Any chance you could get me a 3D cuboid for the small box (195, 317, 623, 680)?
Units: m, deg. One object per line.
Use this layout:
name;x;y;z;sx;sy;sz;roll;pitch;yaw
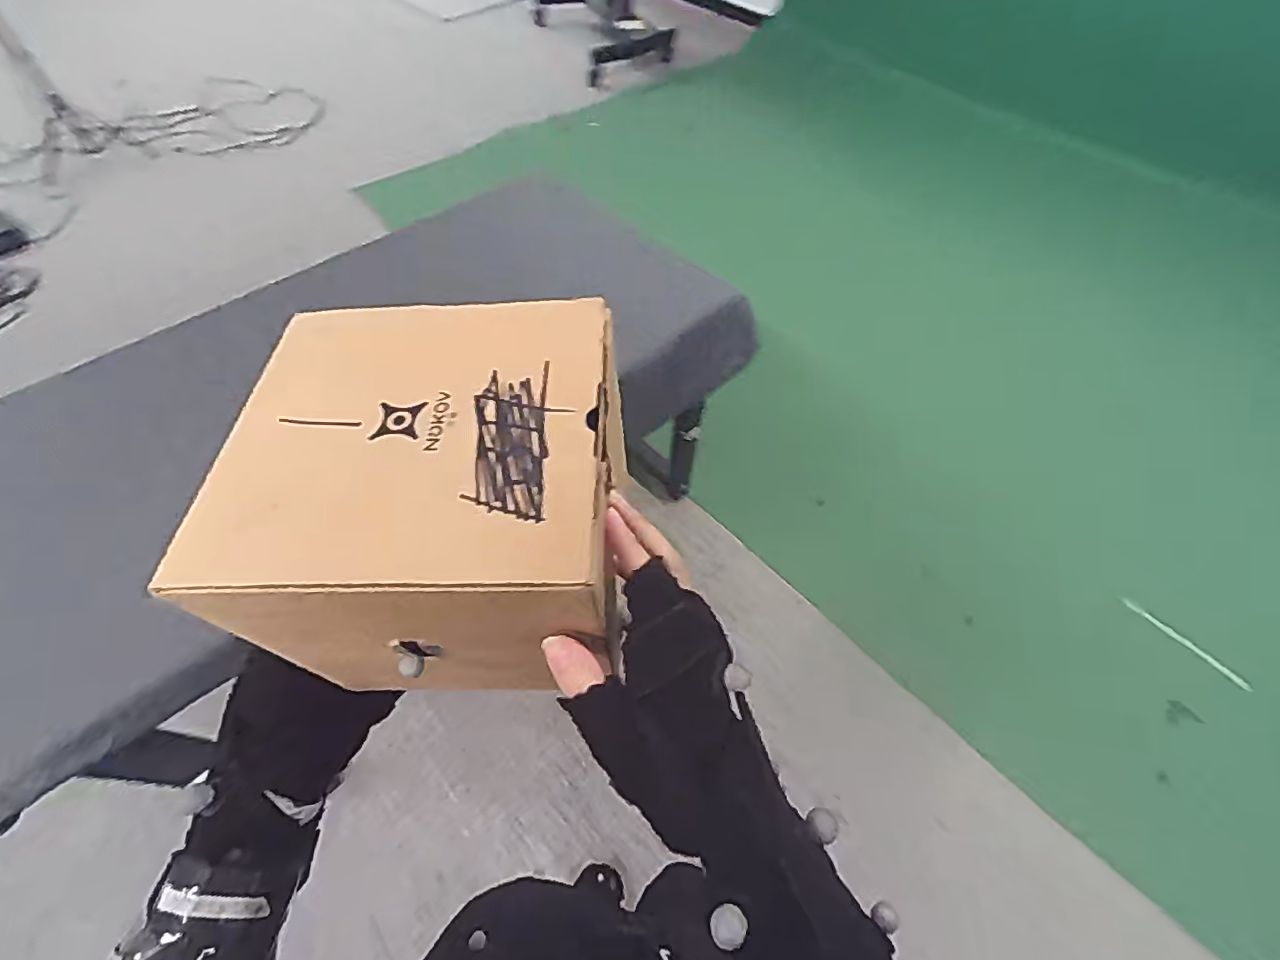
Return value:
small box;-0.102;0.019;0.339;0.179;0.176;0.168;-1;55;2
